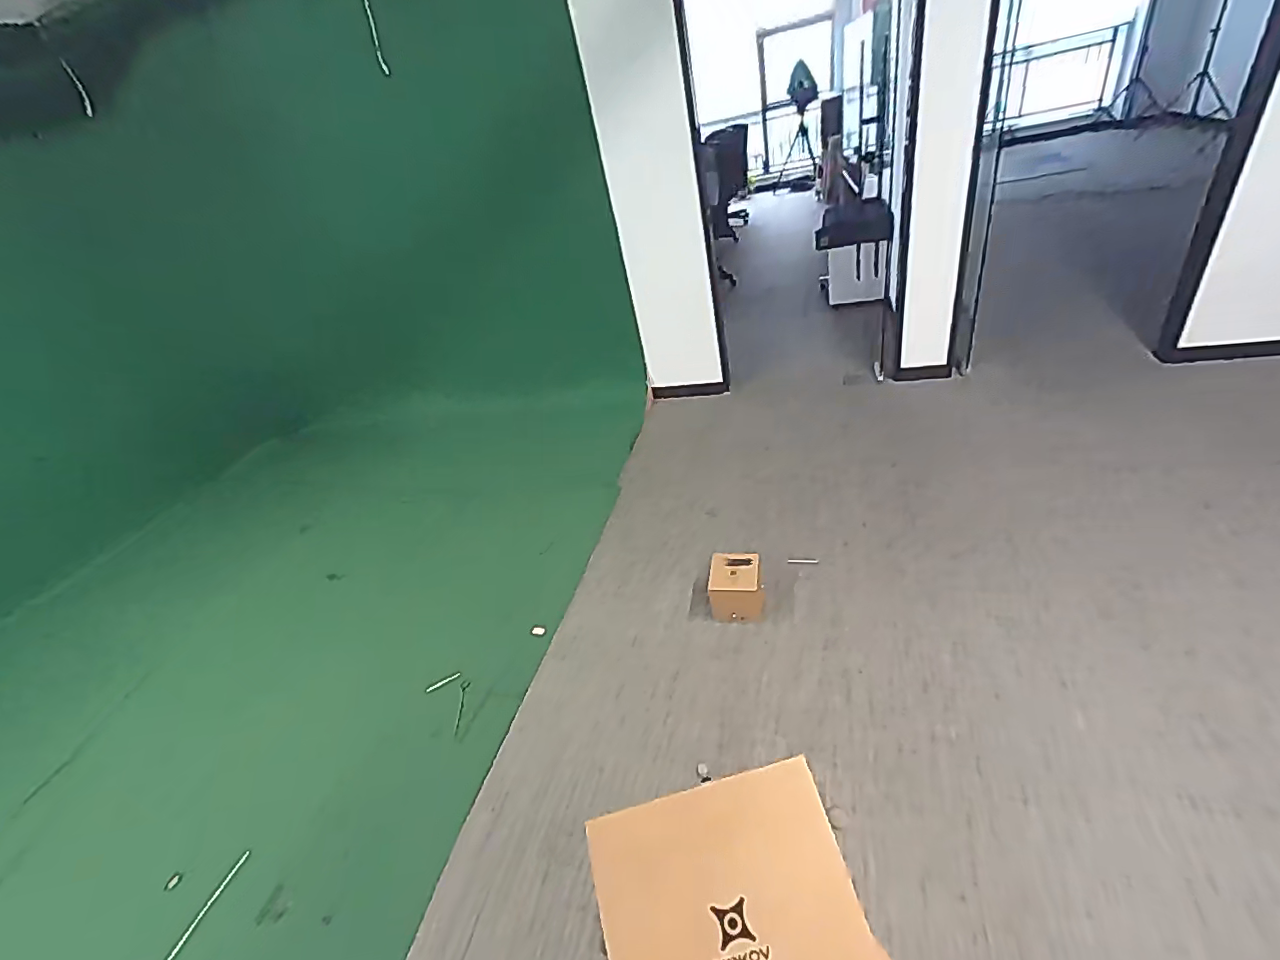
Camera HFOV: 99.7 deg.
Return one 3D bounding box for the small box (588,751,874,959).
[{"bbox_3d":[0.071,0.330,0.421,0.168,0.176,0.179,-17,61,1],"label":"small box"}]
